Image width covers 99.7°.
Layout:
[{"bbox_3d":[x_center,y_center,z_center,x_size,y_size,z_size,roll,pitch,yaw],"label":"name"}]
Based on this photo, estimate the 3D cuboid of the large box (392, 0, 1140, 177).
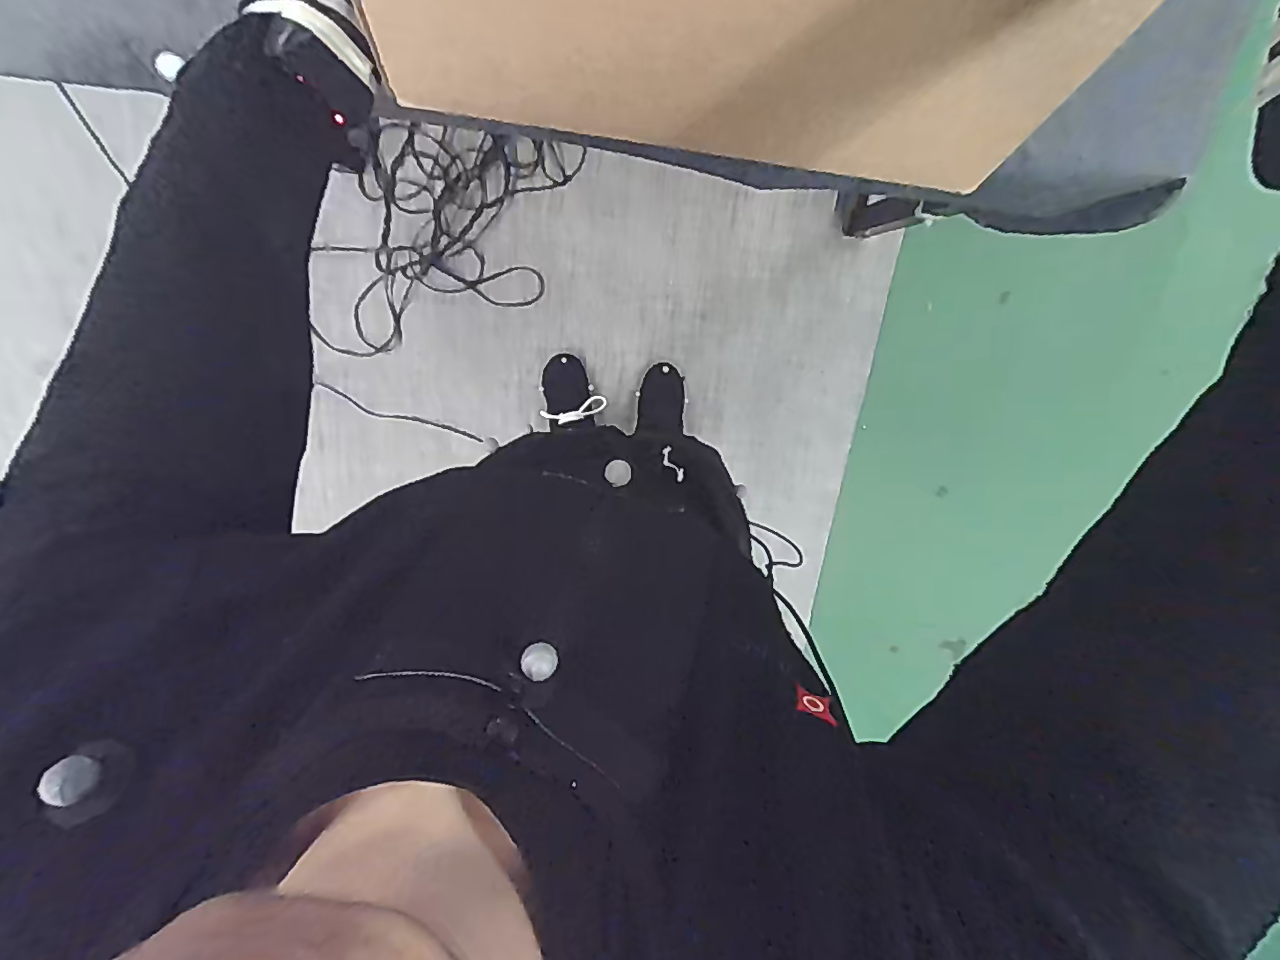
[{"bbox_3d":[0.073,-0.408,0.273,0.408,0.320,0.320,3,77,-6],"label":"large box"}]
